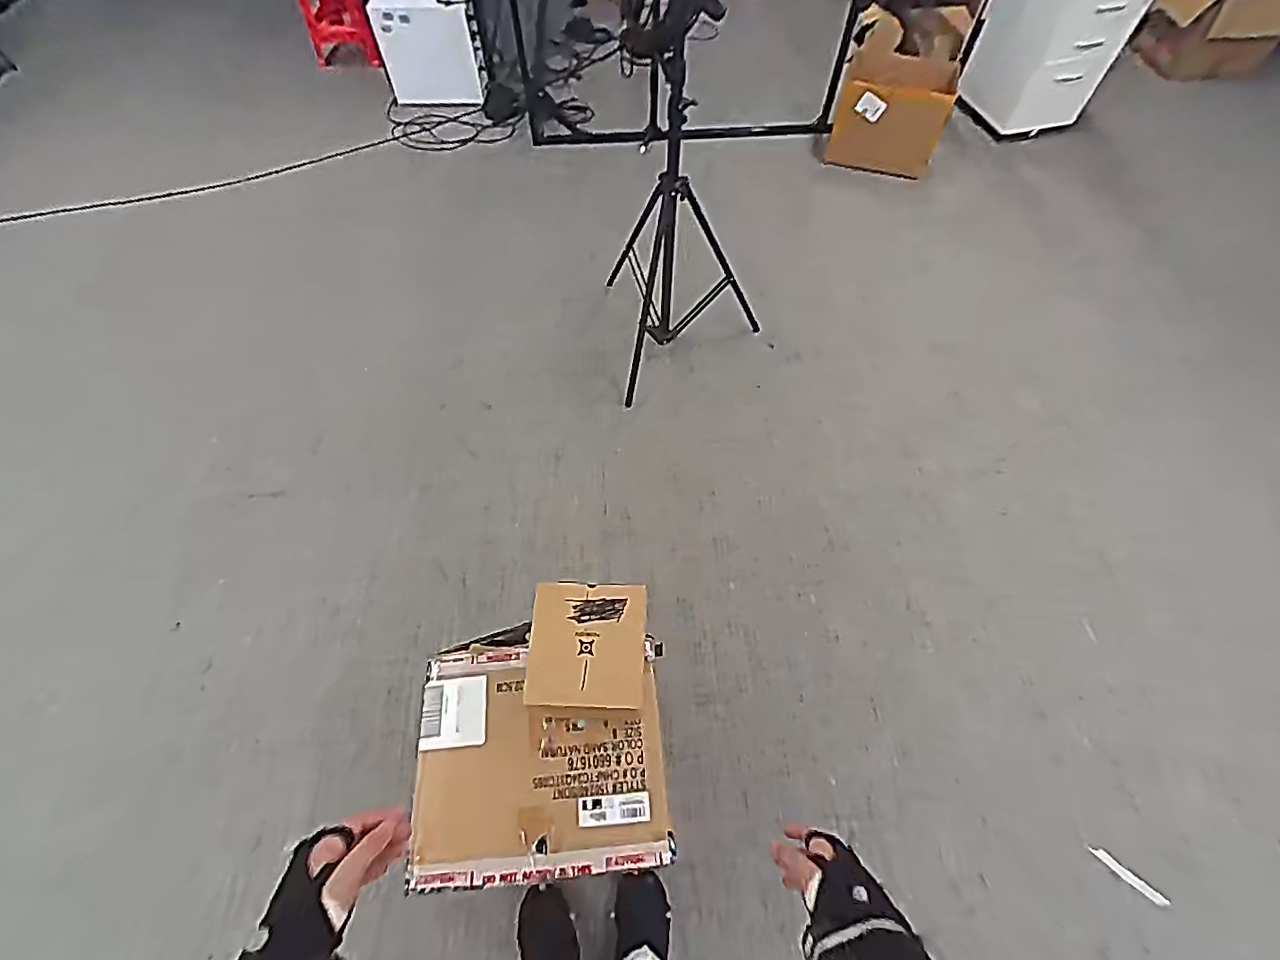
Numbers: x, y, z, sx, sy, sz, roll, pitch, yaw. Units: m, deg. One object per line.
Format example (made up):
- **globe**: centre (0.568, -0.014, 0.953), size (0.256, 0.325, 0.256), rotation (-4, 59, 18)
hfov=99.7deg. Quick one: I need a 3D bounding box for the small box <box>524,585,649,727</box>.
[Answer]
- **small box**: centre (-0.075, 0.275, 0.832), size (0.168, 0.176, 0.179), rotation (3, 62, -1)
